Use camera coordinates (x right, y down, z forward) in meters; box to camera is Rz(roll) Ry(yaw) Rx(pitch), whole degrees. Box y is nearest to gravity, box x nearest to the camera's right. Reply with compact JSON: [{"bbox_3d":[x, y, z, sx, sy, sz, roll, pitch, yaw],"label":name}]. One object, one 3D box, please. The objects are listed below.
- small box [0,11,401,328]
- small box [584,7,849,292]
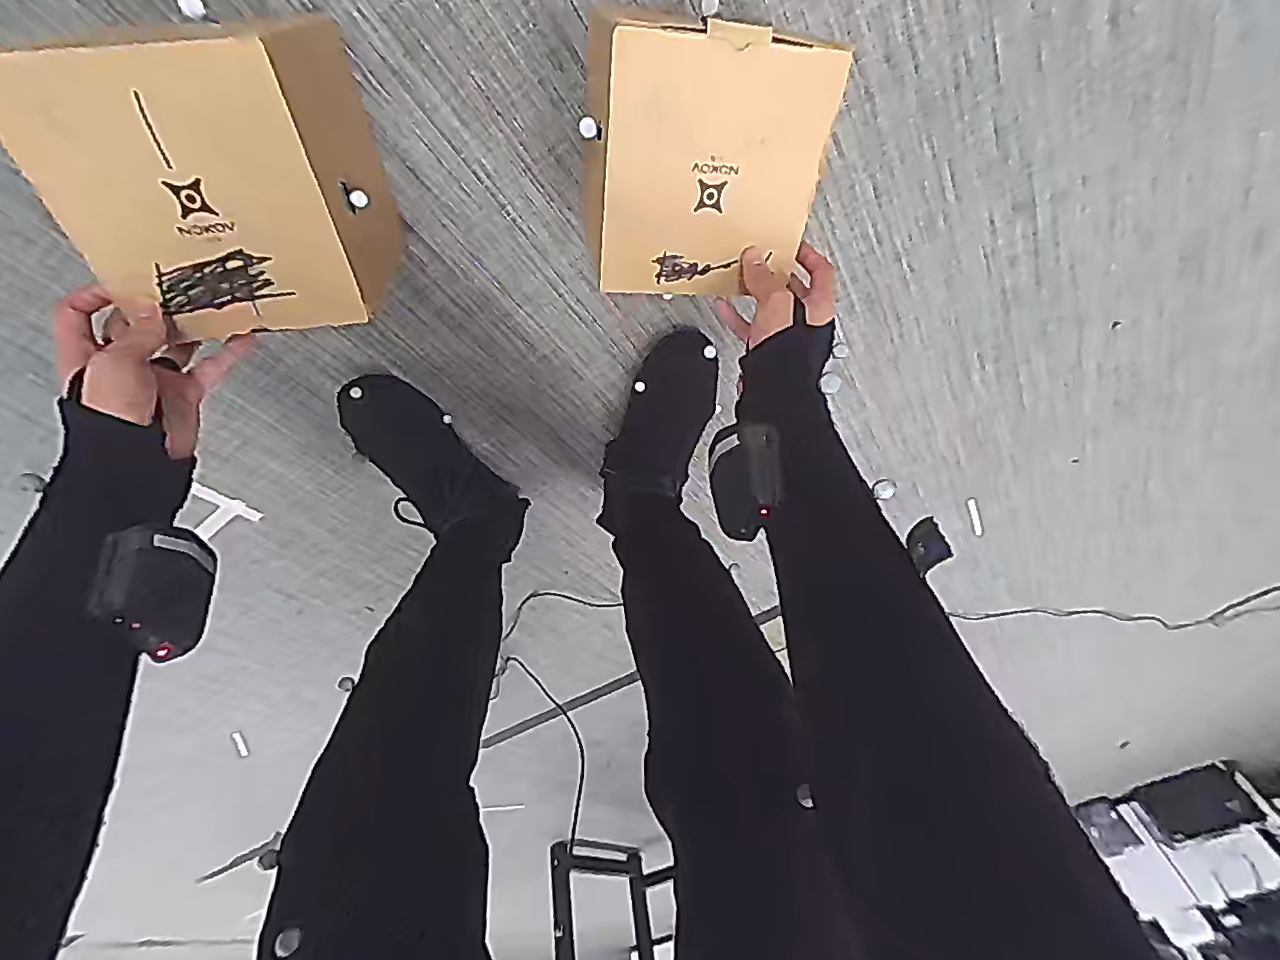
[{"bbox_3d":[-0.305,-0.243,0.423,0.168,0.176,0.179,-8,134,-5],"label":"small box"},{"bbox_3d":[0.042,-0.282,0.465,0.168,0.176,0.179,-1,132,-11],"label":"small box"}]
